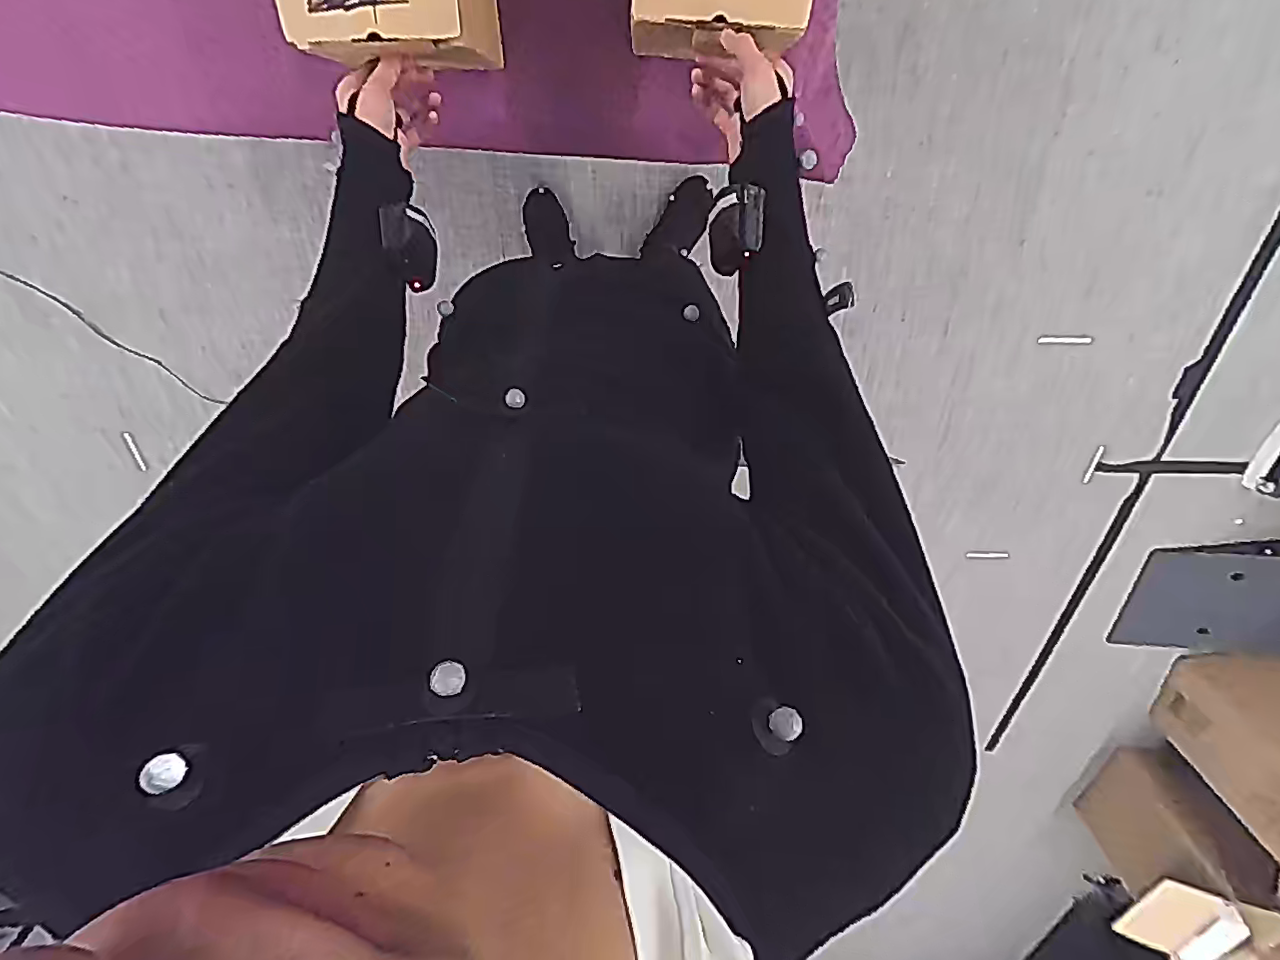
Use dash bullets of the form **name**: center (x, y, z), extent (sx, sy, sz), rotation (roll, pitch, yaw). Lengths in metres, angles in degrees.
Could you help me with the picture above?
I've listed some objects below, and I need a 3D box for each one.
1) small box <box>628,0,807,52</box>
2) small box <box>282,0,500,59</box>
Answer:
- **small box**: center (0.078, -0.539, 0.522), extent (0.168, 0.176, 0.179), rotation (4, 120, -2)
- **small box**: center (-0.243, -0.530, 0.528), extent (0.168, 0.176, 0.179), rotation (-1, 120, 0)
